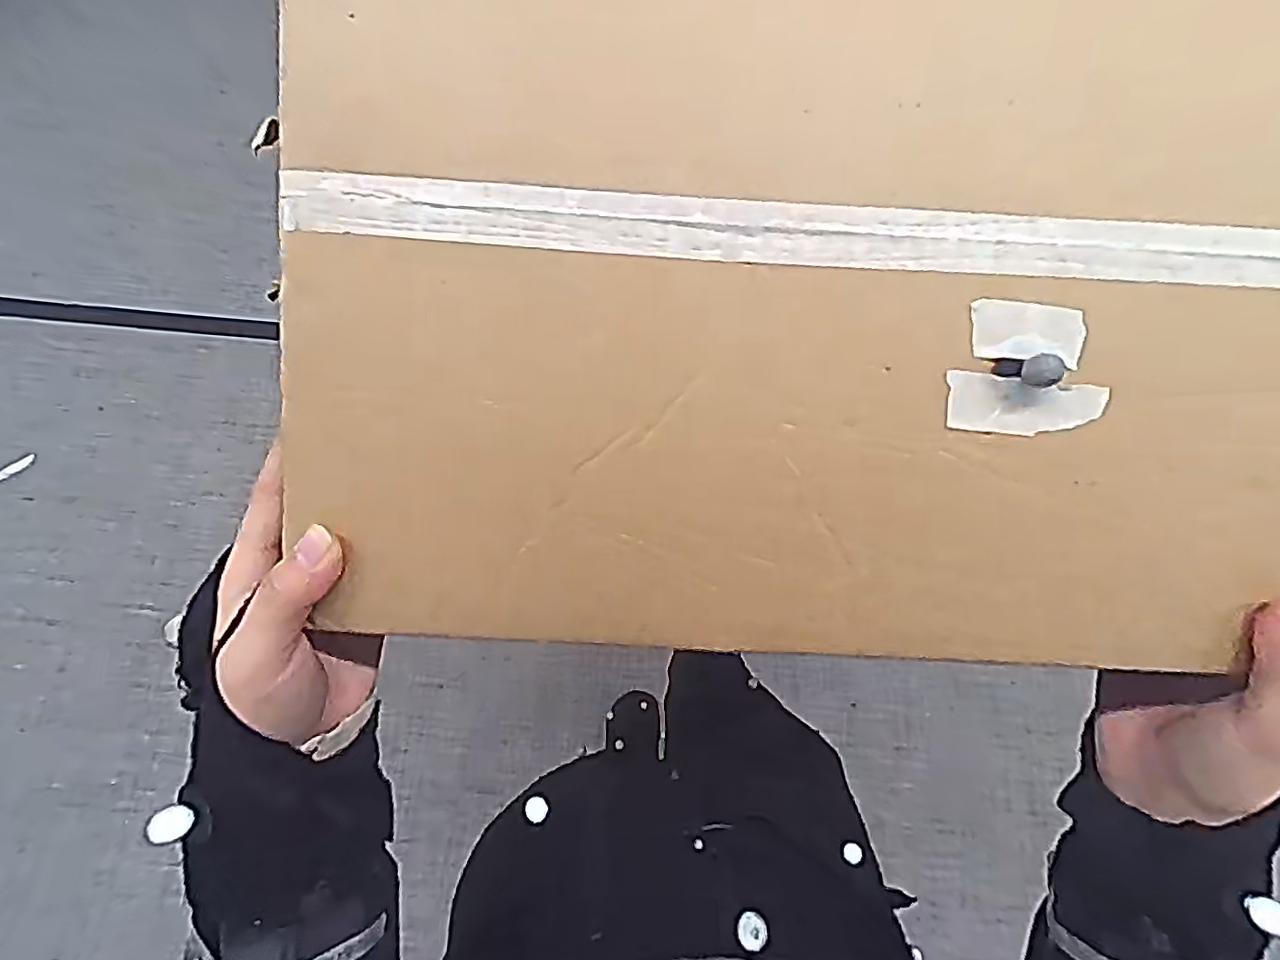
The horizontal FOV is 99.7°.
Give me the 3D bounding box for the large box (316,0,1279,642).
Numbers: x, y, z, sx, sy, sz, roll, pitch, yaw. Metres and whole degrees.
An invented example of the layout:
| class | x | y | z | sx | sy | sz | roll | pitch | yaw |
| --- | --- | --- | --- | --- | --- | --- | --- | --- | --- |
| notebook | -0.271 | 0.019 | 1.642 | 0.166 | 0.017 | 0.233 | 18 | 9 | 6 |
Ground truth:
| class | x | y | z | sx | sy | sz | roll | pitch | yaw |
| --- | --- | --- | --- | --- | --- | --- | --- | --- | --- |
| large box | 0.070 | -0.097 | 0.360 | 0.408 | 0.320 | 0.320 | 2 | 94 | -2 |
